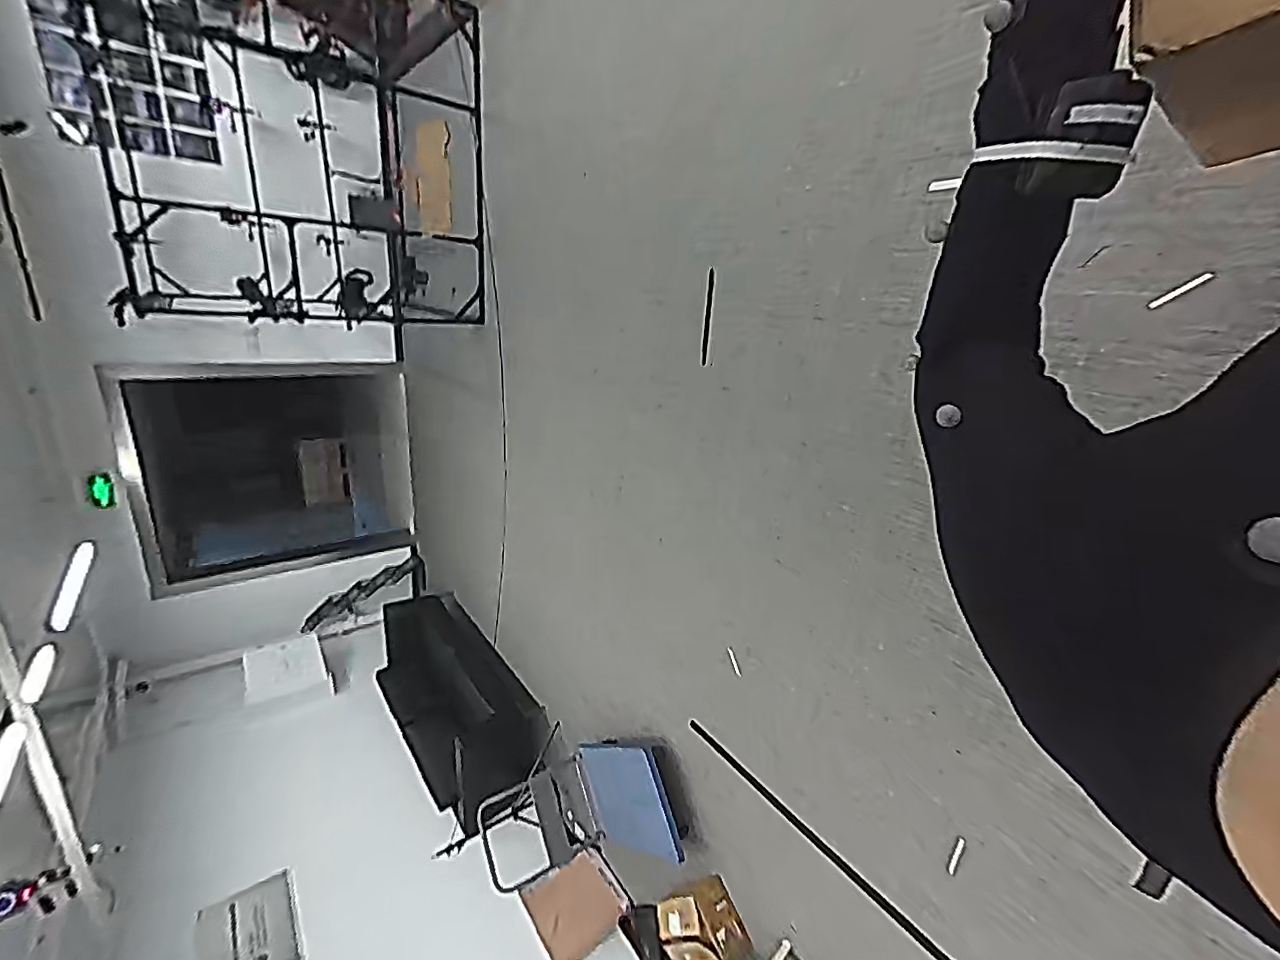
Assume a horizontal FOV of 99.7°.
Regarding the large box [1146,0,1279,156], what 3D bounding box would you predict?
[{"bbox_3d":[0.539,-0.426,0.256,0.408,0.320,0.320,6,103,51],"label":"large box"}]
